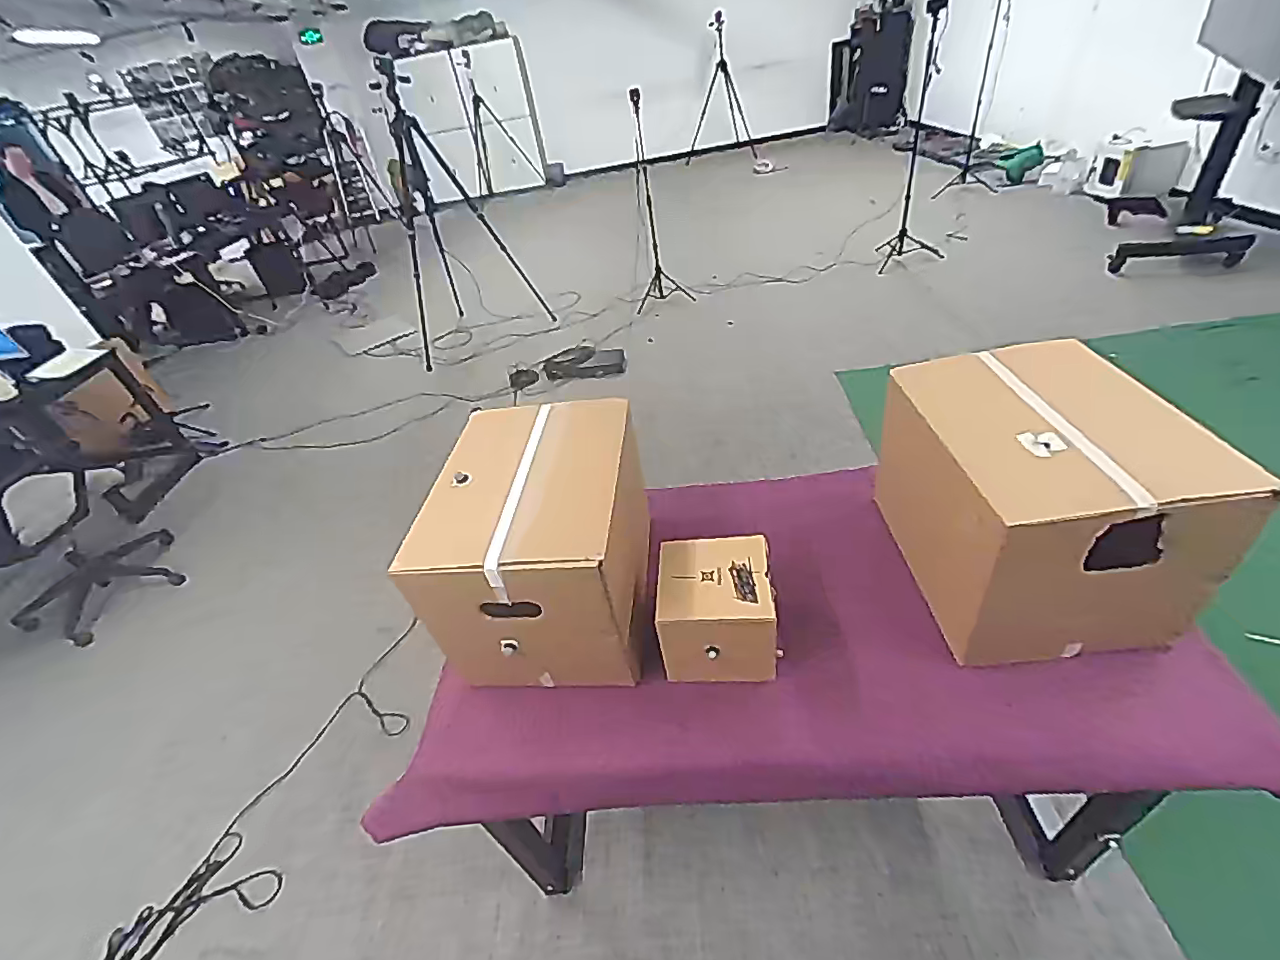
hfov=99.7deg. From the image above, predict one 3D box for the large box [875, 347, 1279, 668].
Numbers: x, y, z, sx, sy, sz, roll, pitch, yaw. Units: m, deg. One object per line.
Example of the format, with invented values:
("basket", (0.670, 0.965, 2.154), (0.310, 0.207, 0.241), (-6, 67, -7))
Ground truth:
("large box", (0.617, 0.033, 0.875), (0.320, 0.320, 0.408), (-9, 39, 7))
